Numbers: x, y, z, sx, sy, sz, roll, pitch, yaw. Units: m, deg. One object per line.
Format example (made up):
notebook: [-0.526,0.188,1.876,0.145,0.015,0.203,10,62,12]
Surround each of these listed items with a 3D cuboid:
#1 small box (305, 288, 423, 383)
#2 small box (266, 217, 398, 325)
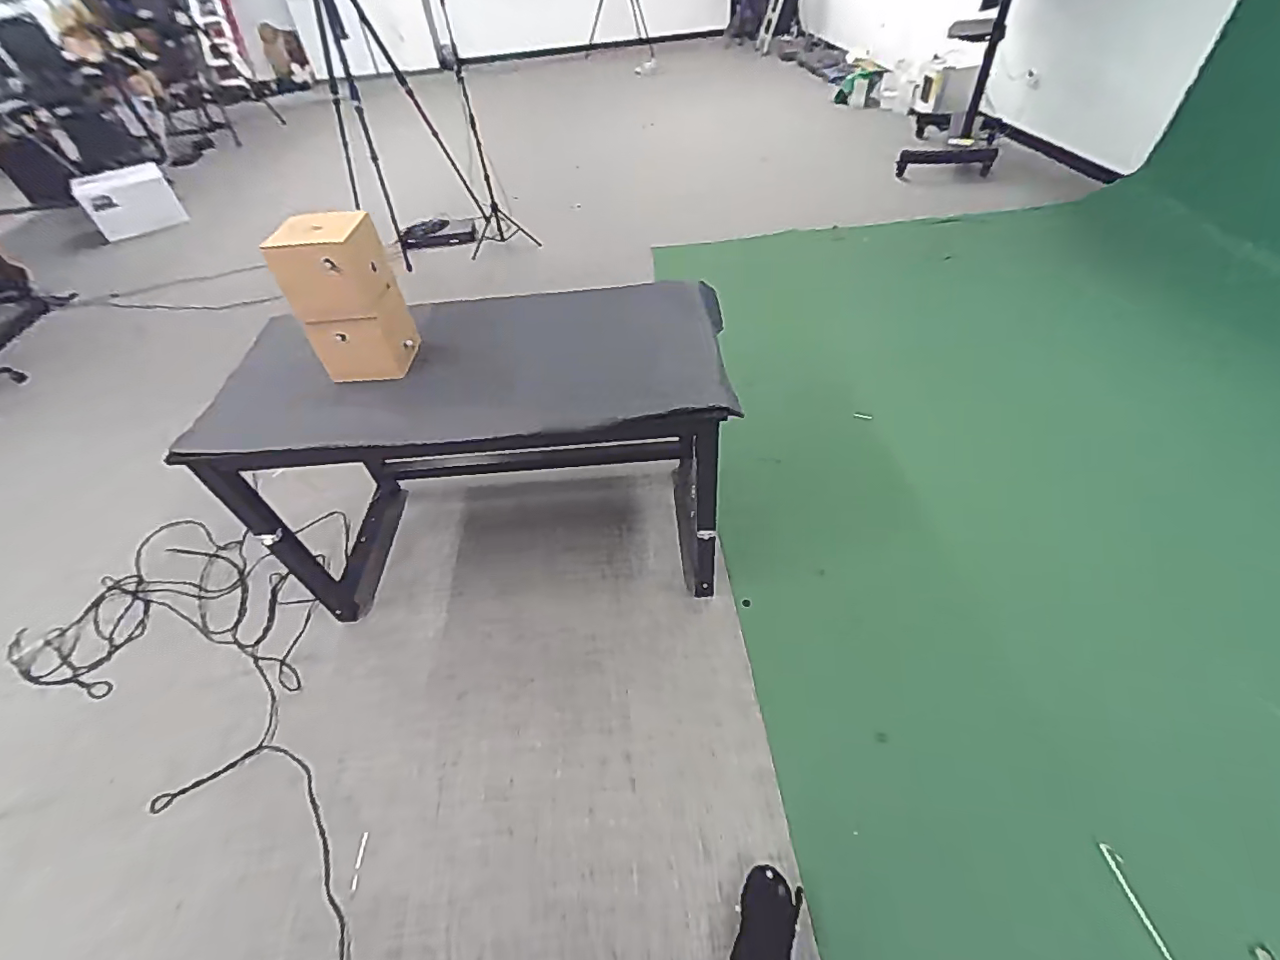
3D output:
small box: [-0.659,-0.349,1.314,0.179,0.176,0.168,-2,46,2]
small box: [-0.662,-0.459,1.192,0.179,0.176,0.168,-3,45,1]
